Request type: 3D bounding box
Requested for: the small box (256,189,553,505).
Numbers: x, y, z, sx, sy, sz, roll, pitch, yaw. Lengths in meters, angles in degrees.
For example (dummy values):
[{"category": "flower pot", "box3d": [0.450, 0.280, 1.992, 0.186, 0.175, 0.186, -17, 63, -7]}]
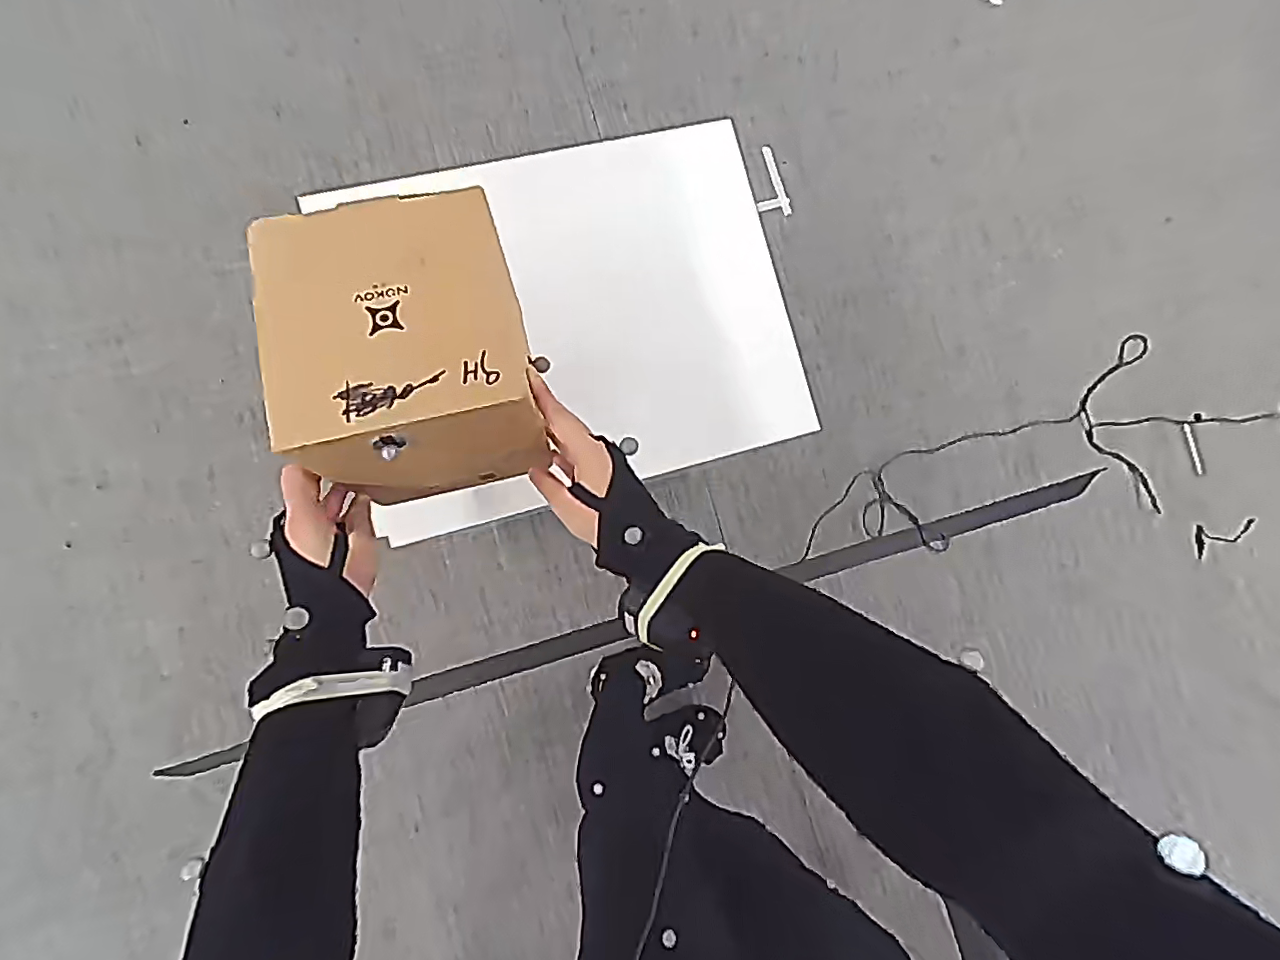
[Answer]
[{"category": "small box", "box3d": [-0.174, -0.095, 0.443, 0.168, 0.176, 0.179, -13, 76, -7]}]
